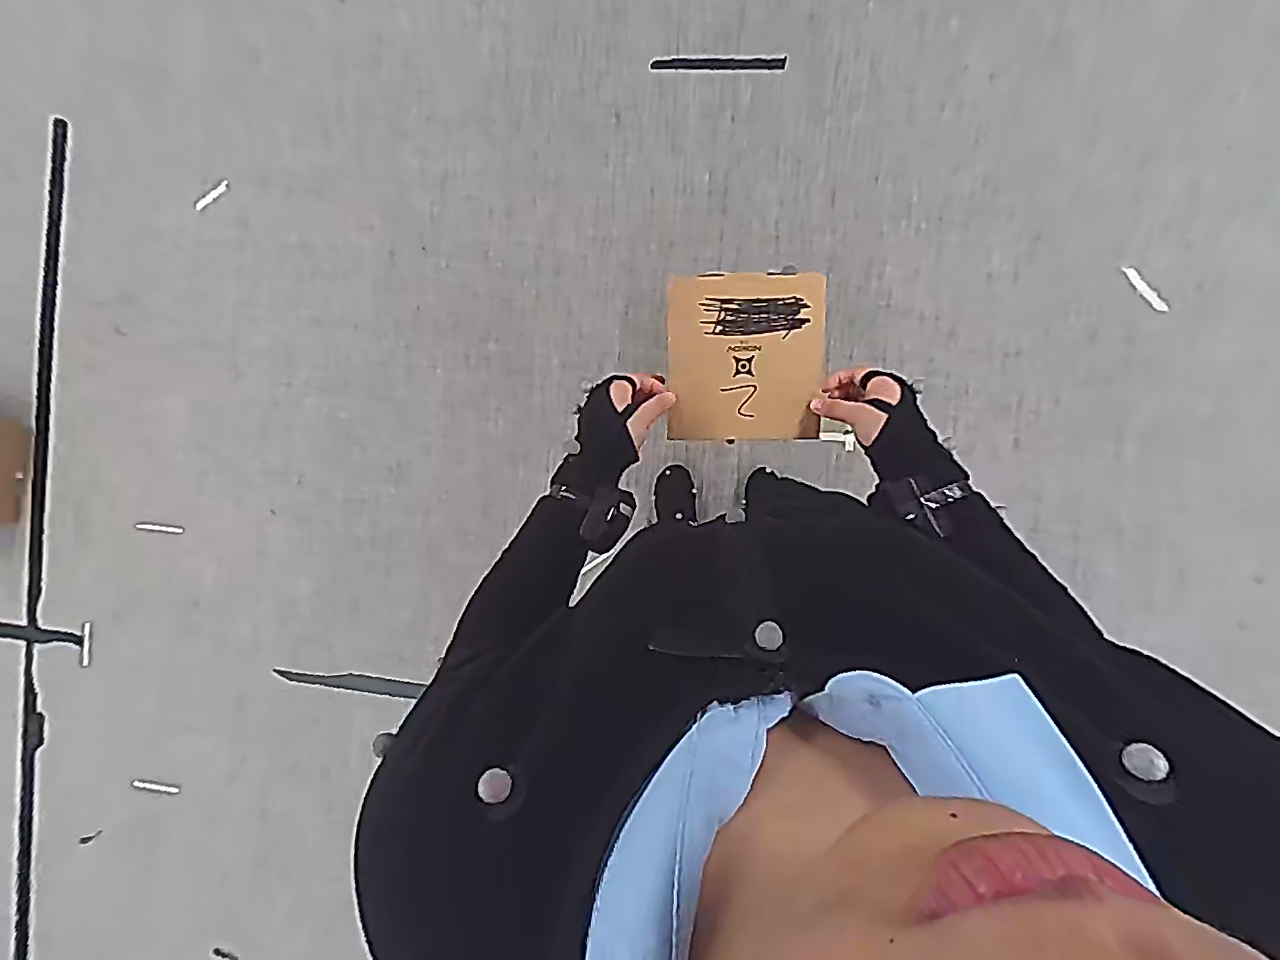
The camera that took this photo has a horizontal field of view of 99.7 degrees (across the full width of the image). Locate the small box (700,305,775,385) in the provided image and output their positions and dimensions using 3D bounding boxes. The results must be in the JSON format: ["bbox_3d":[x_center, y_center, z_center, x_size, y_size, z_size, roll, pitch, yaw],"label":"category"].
[{"bbox_3d":[0.246,-0.354,1.397,0.168,0.176,0.179,-7,91,6],"label":"small box"}]

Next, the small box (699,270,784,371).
[{"bbox_3d":[0.224,-0.357,1.235,0.168,0.176,0.179,6,92,5],"label":"small box"}]
